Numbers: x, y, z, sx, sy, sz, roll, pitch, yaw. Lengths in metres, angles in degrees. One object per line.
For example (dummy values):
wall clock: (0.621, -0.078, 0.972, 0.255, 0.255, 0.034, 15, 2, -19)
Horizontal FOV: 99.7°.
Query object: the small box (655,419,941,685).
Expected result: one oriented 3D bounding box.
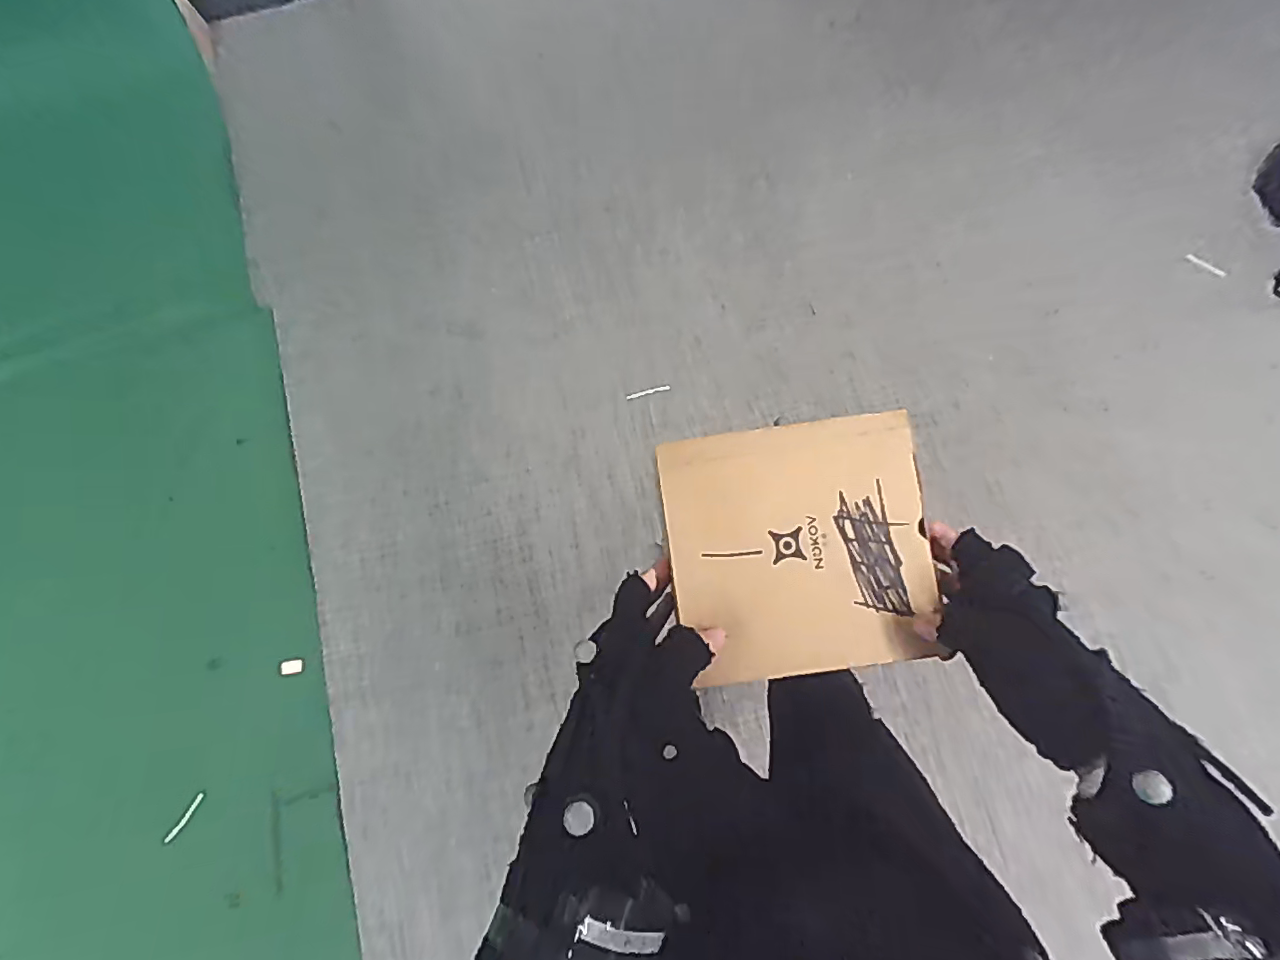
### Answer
small box: (0.108, 0.056, 0.449, 0.179, 0.176, 0.168, -8, 83, 2)
